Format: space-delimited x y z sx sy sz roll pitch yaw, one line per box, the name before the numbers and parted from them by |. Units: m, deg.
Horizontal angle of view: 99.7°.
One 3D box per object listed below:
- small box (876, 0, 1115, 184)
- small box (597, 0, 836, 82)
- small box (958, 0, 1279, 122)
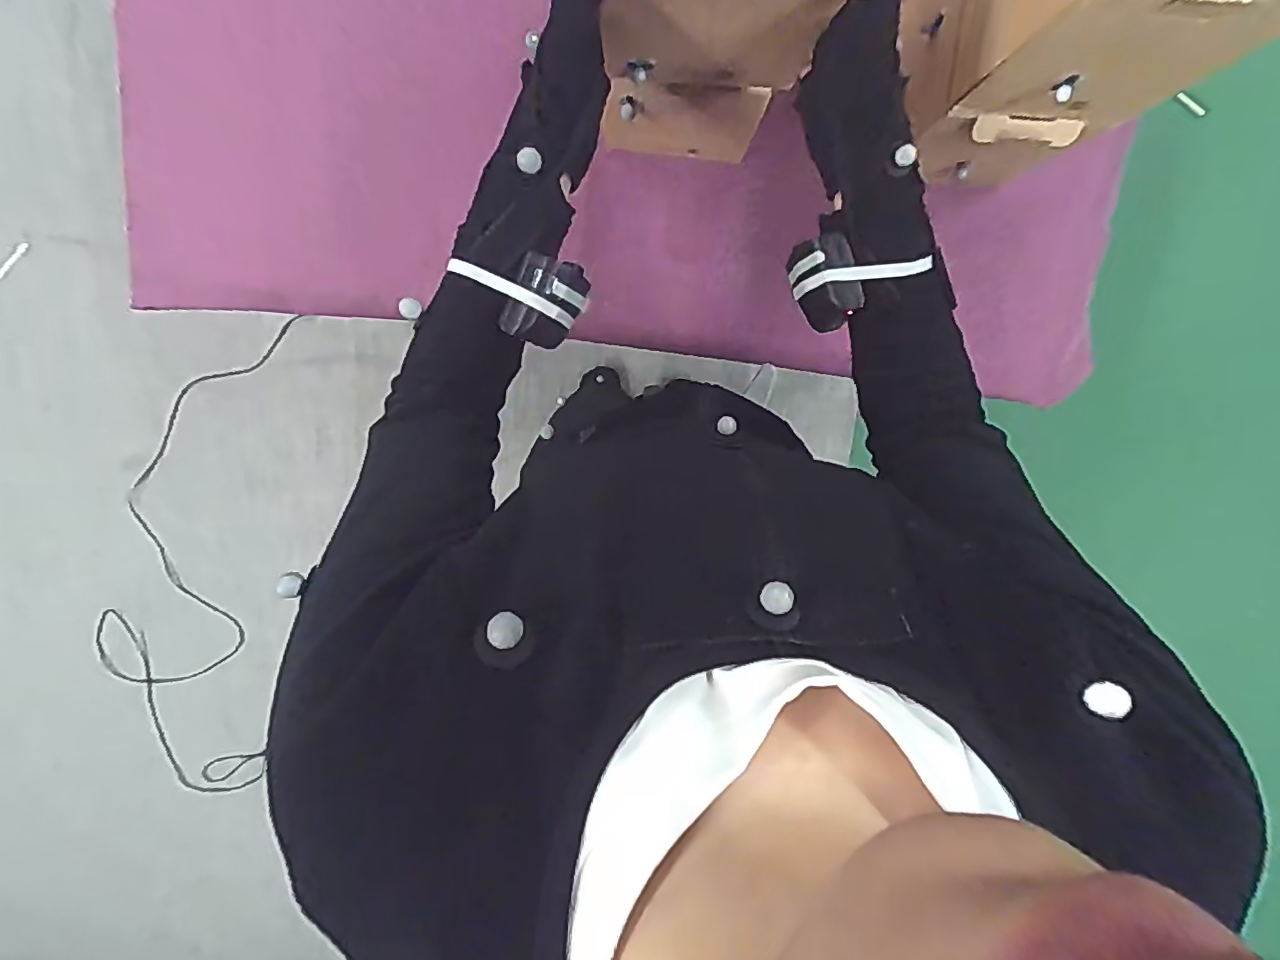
small box | 0.372 -0.440 0.571 0.168 0.176 0.179 3 102 0
small box | 0.056 -0.401 0.362 0.168 0.176 0.179 2 105 -2
small box | 0.376 -0.410 0.410 0.168 0.176 0.179 3 102 -1
